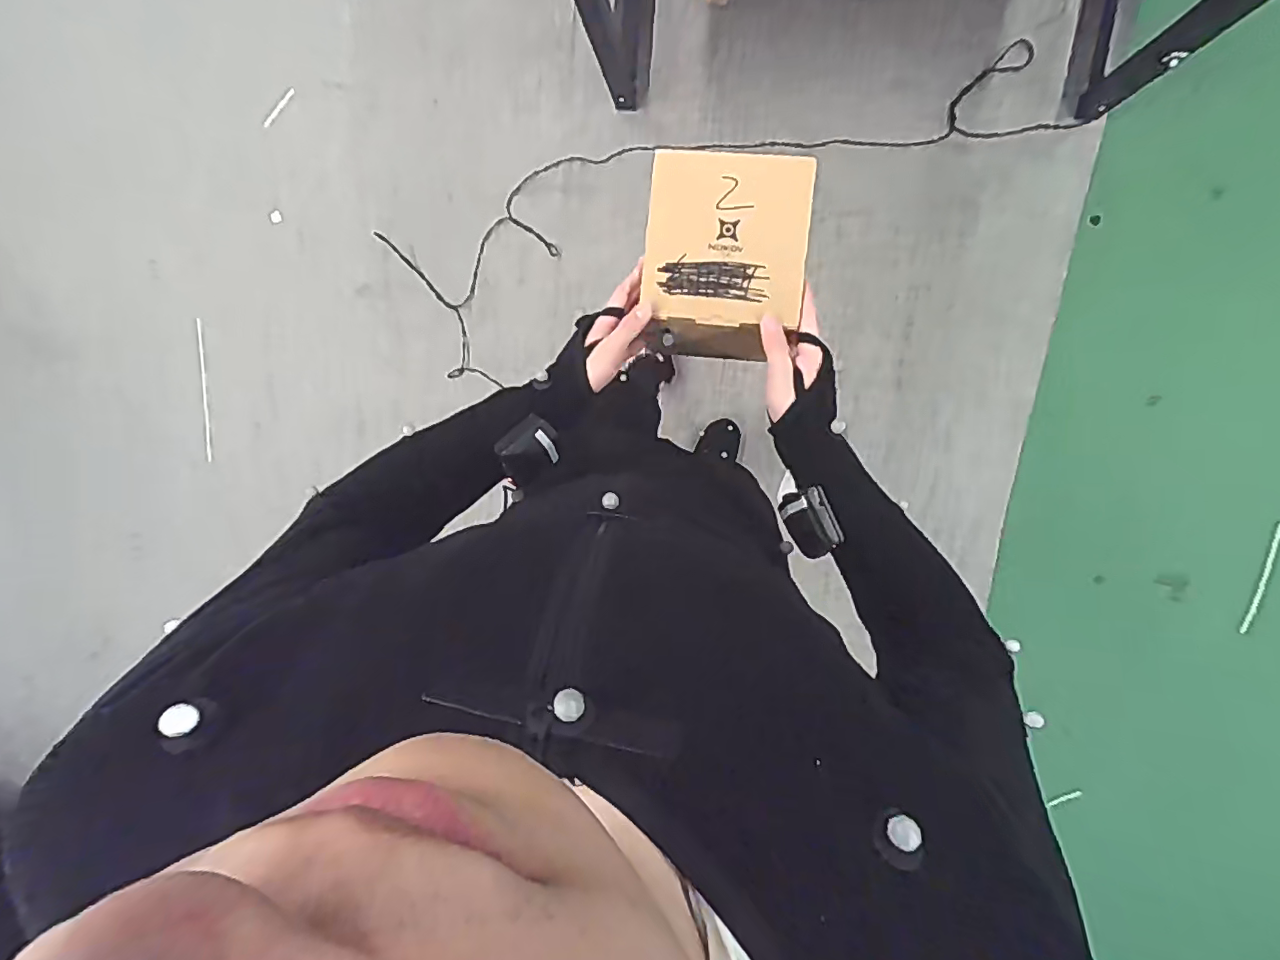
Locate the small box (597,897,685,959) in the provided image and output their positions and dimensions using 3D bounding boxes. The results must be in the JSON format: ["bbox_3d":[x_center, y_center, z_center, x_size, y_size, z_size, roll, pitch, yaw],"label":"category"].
[{"bbox_3d":[-0.003,1.051,1.165,0.179,0.176,0.168,8,104,7],"label":"small box"}]
